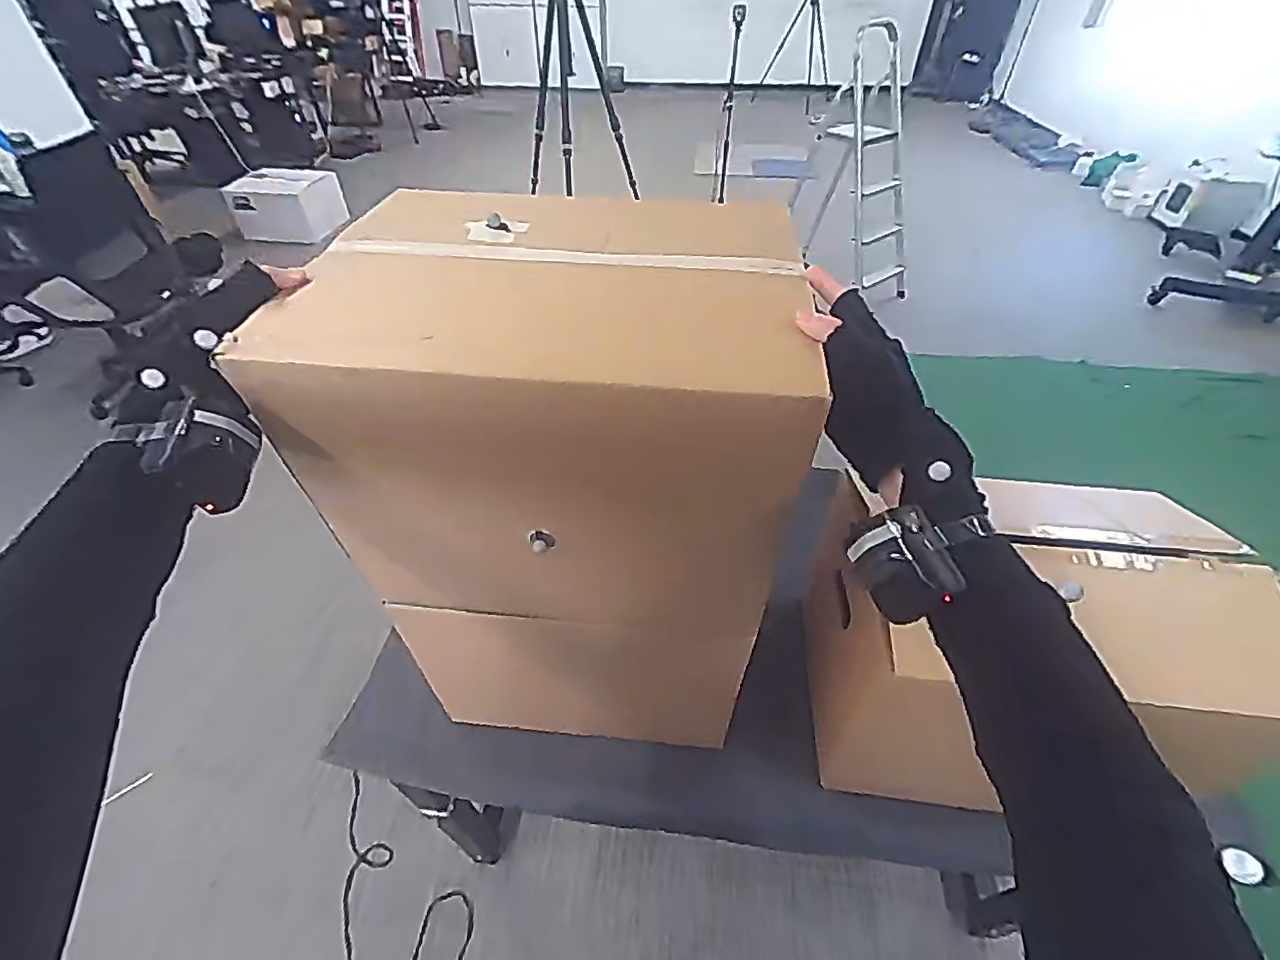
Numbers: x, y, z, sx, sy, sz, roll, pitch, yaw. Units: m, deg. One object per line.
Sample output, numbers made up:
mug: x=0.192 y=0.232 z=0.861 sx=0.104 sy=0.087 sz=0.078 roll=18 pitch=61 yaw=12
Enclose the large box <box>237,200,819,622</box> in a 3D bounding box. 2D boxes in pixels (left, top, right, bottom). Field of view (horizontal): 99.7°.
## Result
large box: x=-0.065 y=-0.071 z=0.567 sx=0.408 sy=0.320 sz=0.320 roll=4 pitch=47 yaw=4
